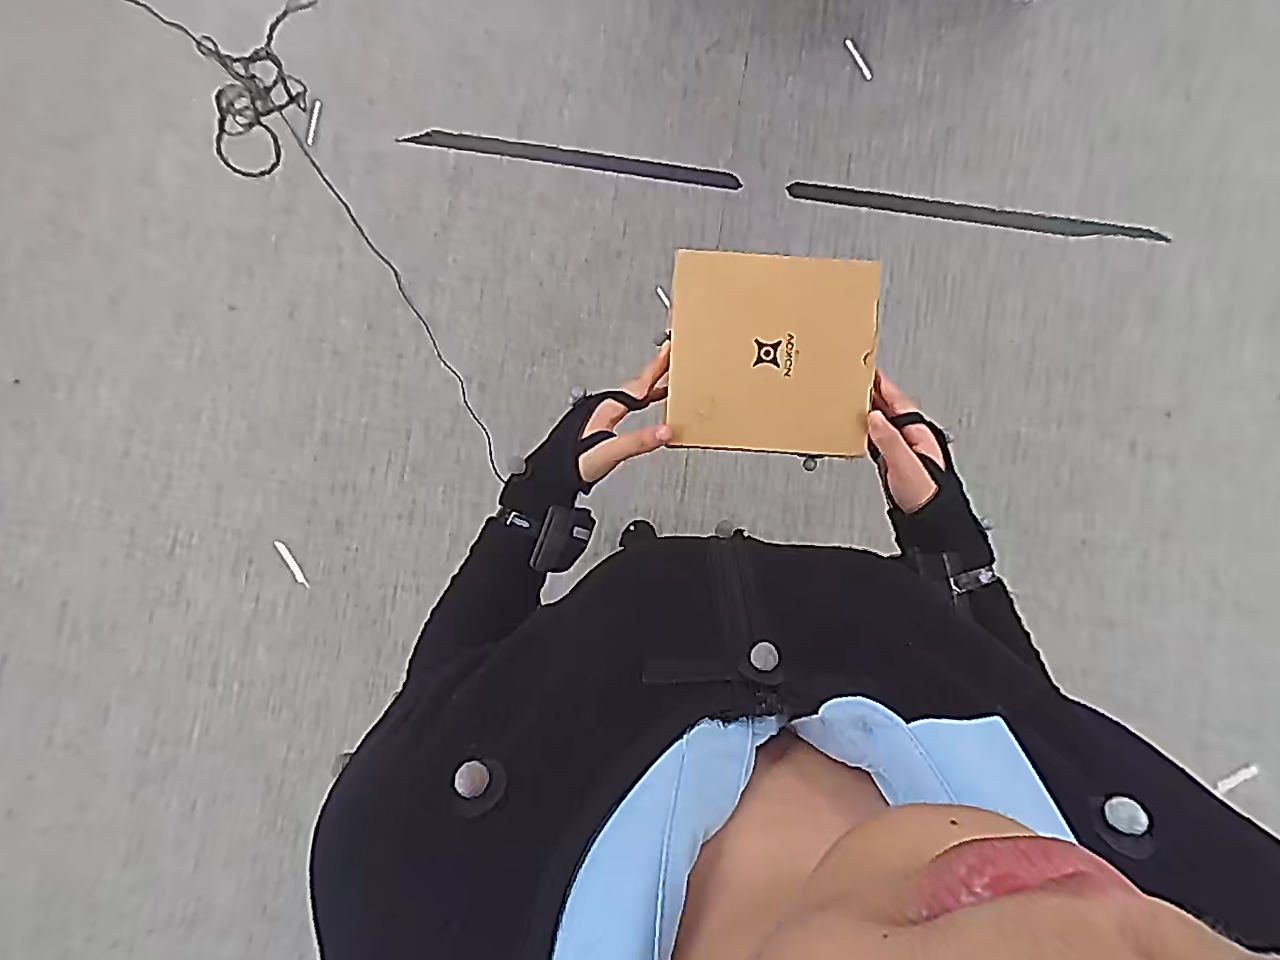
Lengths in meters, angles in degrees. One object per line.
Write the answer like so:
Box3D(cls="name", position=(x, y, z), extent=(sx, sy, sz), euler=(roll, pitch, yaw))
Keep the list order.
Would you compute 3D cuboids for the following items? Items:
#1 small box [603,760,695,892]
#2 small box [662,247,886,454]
Box3D(cls="small box", position=(0.022, 0.771, 1.226), extent=(0.168, 0.176, 0.179), euler=(13, 88, 4))
Box3D(cls="small box", position=(0.114, -0.112, 0.532), extent=(0.179, 0.176, 0.168), euler=(3, 93, 0))
